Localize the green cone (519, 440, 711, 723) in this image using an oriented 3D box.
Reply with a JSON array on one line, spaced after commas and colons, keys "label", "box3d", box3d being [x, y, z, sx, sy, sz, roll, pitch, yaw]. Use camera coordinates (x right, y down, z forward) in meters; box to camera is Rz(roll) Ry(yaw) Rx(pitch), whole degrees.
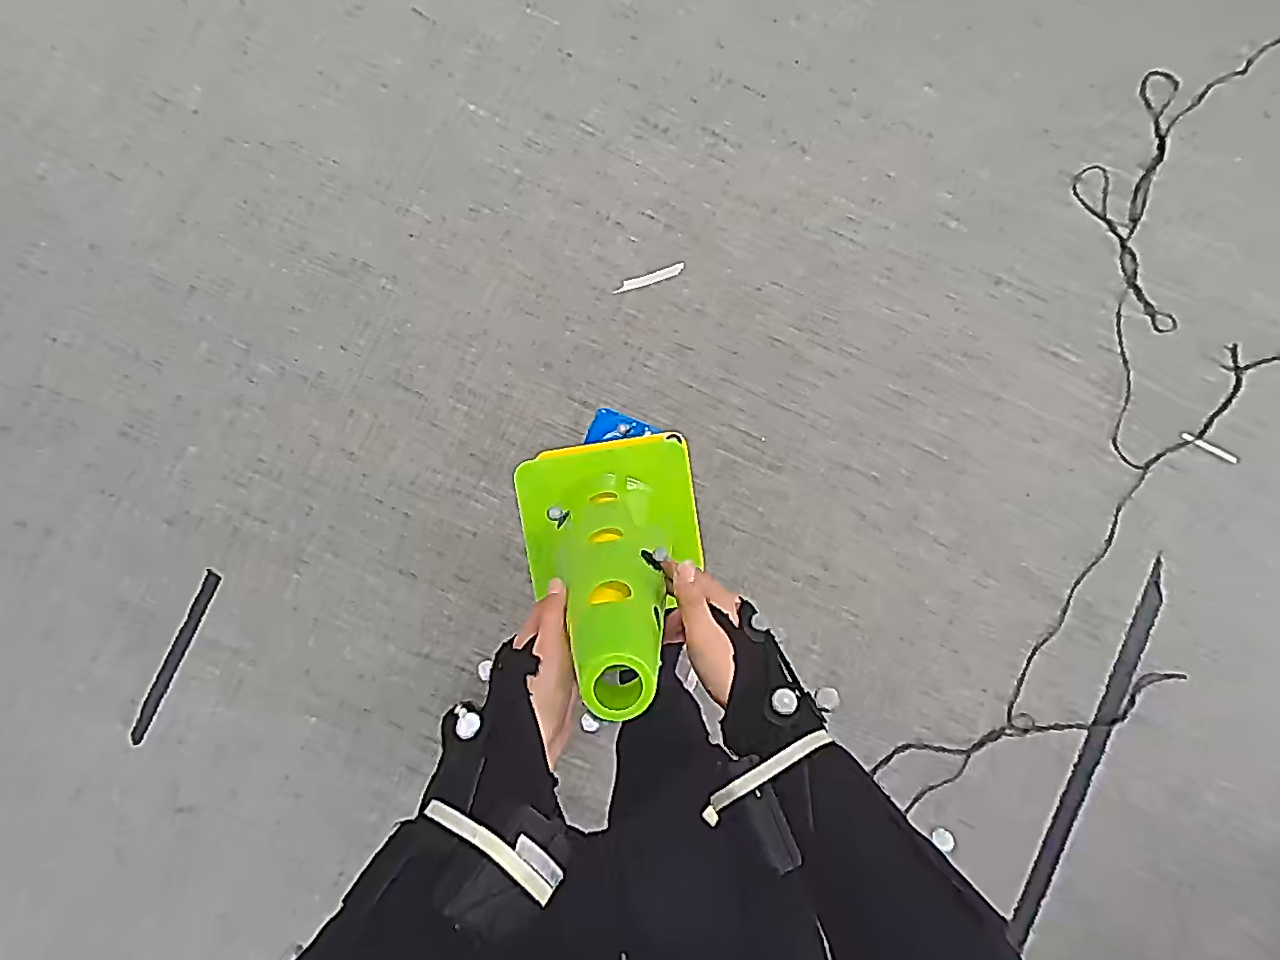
[{"label": "green cone", "box3d": [-0.018, 0.081, 0.452, 0.202, 0.368, 0.200, -10, 97, -1]}]
